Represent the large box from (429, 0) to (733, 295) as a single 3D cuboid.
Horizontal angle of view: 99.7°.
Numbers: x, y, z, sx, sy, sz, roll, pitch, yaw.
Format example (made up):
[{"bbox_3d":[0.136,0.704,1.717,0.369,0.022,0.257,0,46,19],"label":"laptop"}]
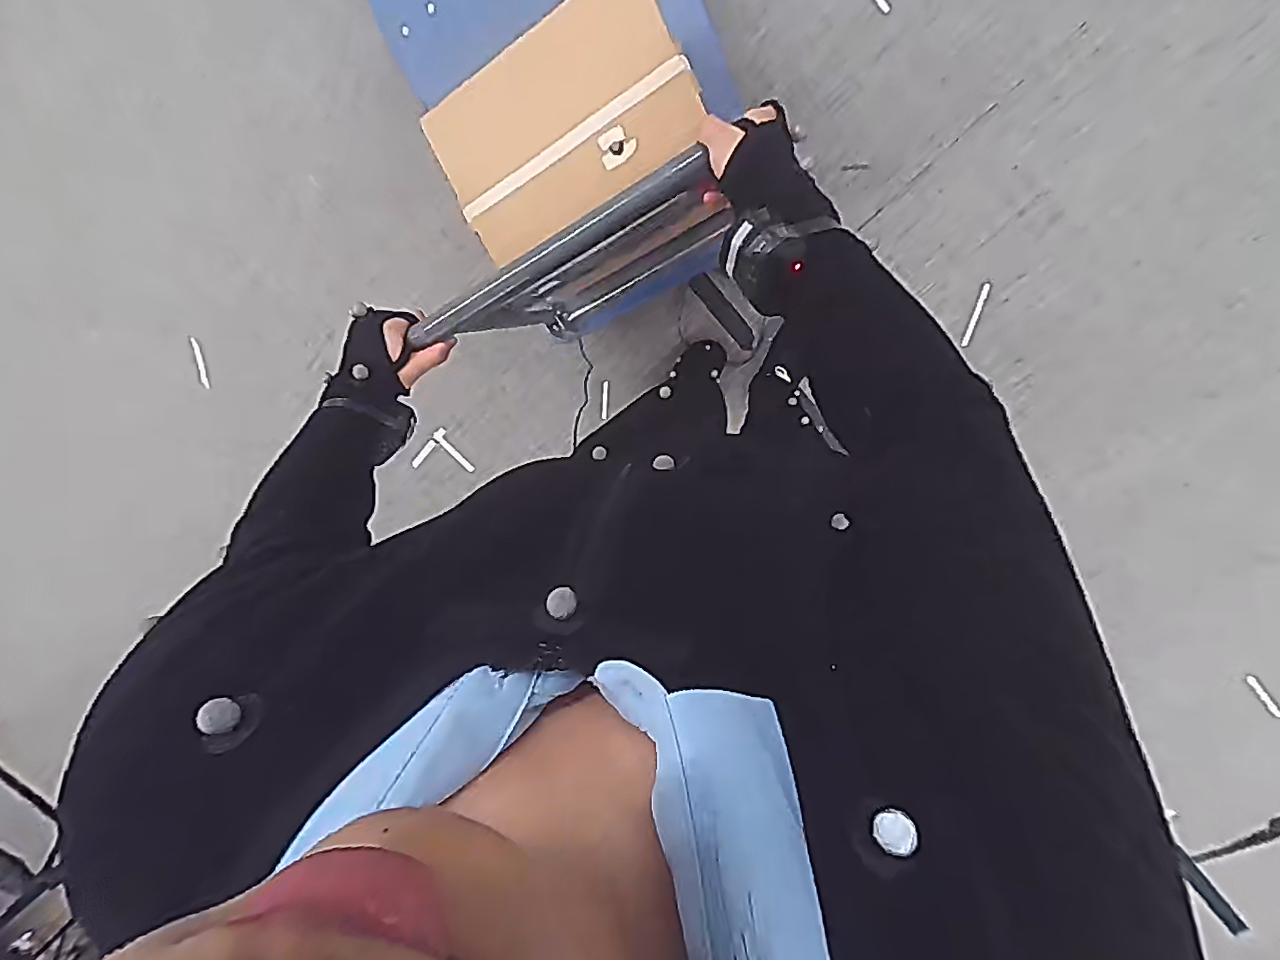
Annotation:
[{"bbox_3d":[-0.078,-0.573,0.980,0.408,0.320,0.320,-24,104,18],"label":"large box"}]
